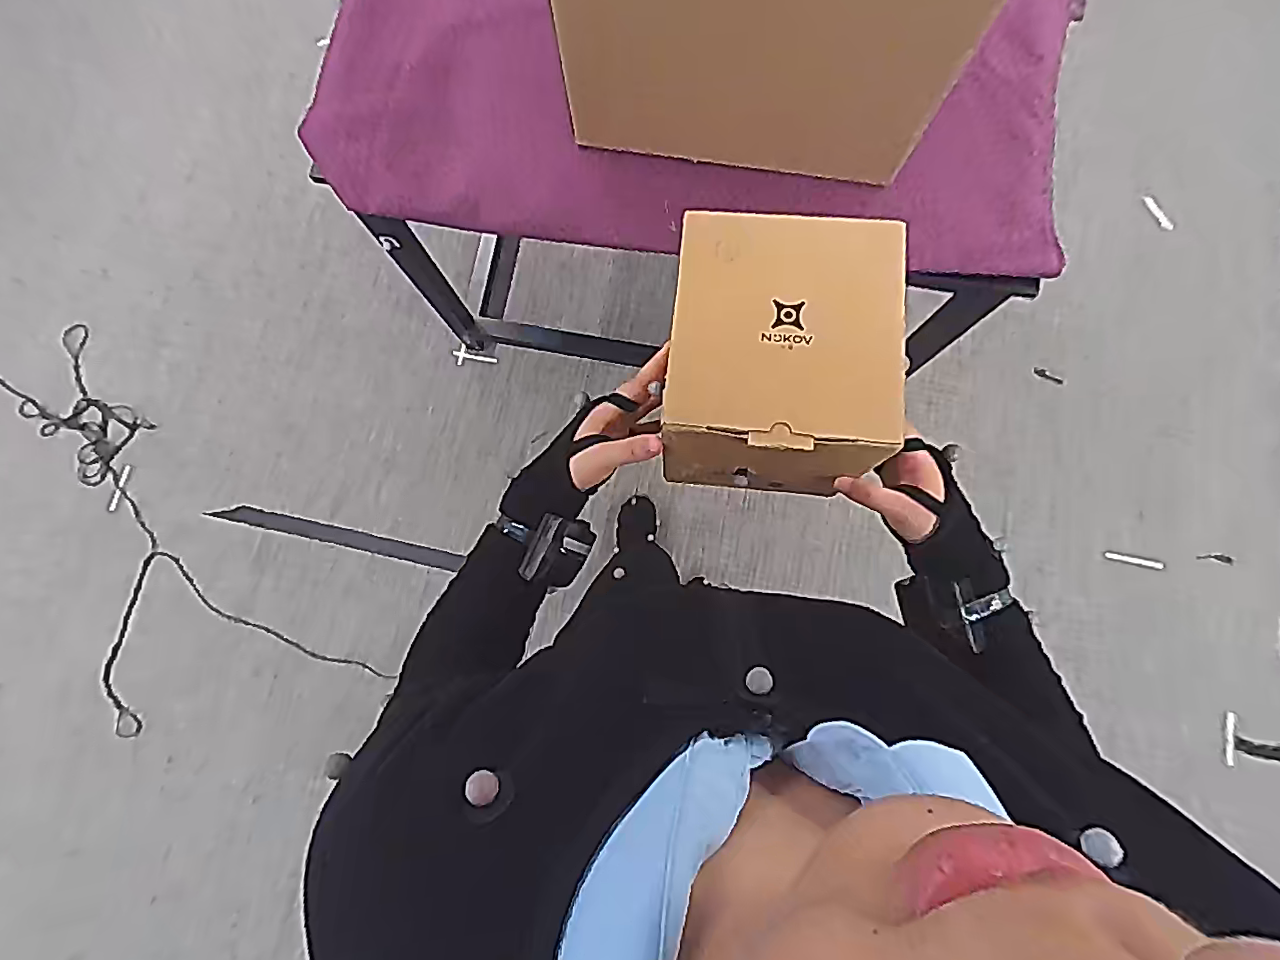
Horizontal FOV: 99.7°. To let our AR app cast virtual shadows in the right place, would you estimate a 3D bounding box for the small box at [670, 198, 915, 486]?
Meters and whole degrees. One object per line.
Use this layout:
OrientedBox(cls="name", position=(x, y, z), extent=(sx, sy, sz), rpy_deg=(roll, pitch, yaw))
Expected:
OrientedBox(cls="small box", position=(0.114, -0.103, 0.461), extent=(0.168, 0.176, 0.179), rpy_deg=(5, 78, 4))
